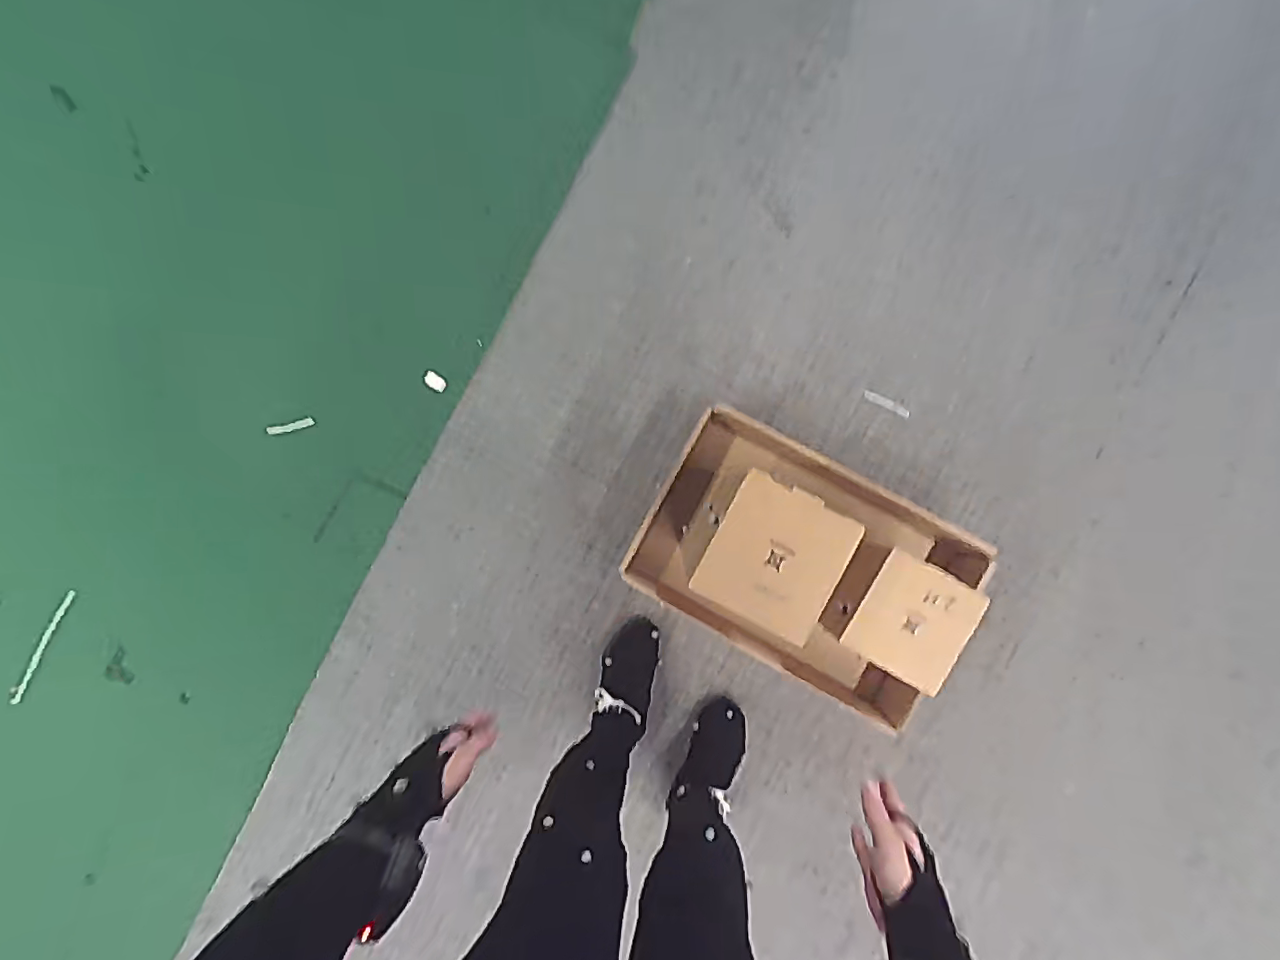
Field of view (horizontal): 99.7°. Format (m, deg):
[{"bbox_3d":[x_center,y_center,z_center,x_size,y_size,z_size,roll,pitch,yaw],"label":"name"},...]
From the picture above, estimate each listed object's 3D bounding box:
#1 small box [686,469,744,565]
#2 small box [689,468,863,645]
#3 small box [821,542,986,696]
[{"bbox_3d":[0.186,0.097,0.931,0.168,0.176,0.179,28,91,4],"label":"small box"},{"bbox_3d":[0.177,0.097,0.768,0.168,0.176,0.179,29,92,4],"label":"small box"},{"bbox_3d":[0.426,0.221,0.913,0.168,0.176,0.179,30,91,6],"label":"small box"}]
